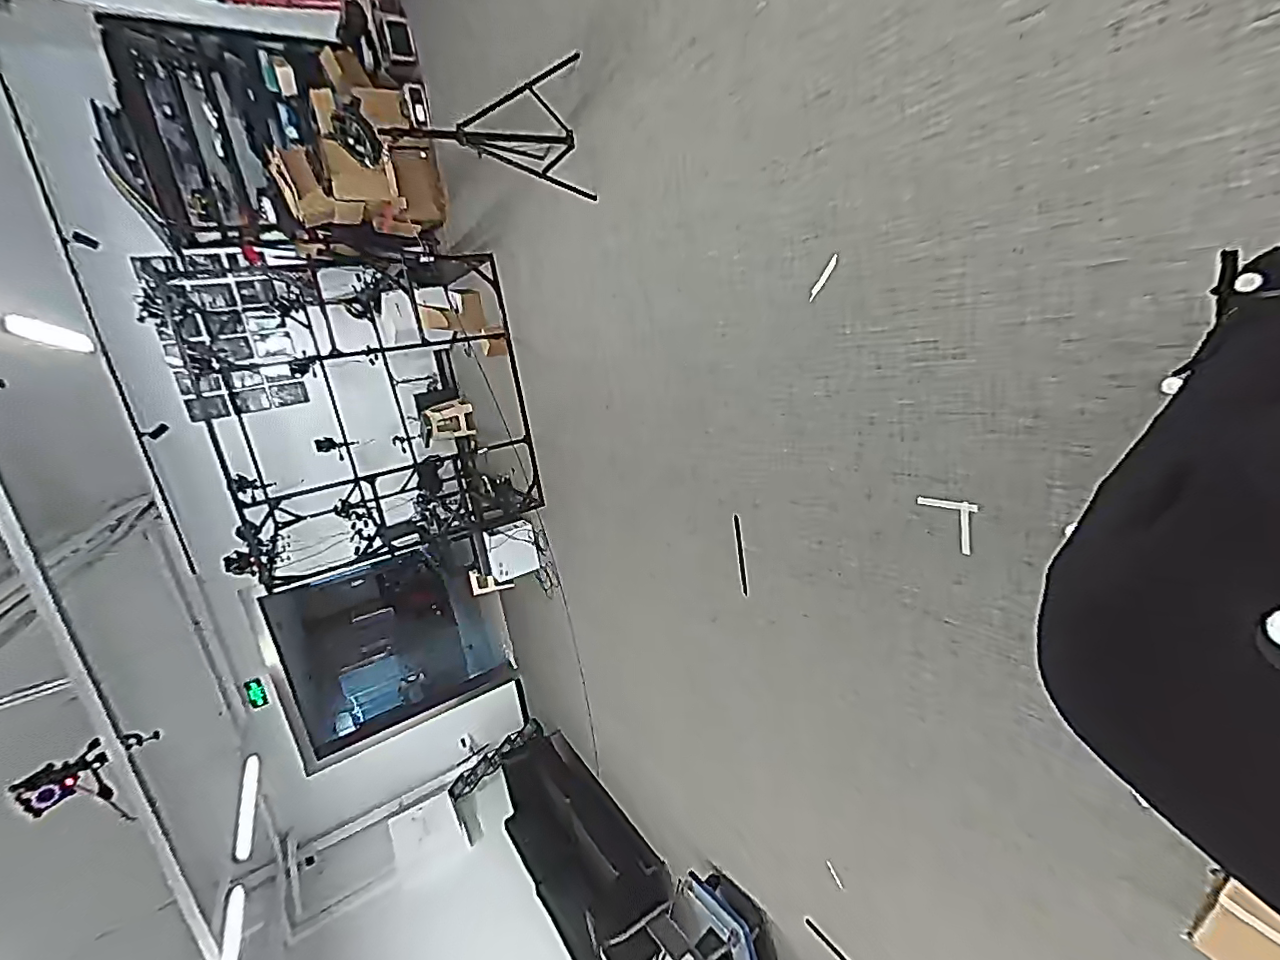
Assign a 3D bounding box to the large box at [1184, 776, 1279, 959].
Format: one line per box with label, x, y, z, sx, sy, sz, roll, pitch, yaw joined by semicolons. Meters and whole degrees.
large box;1.305;0.785;0.925;0.408;0.320;0.320;34;131;51
